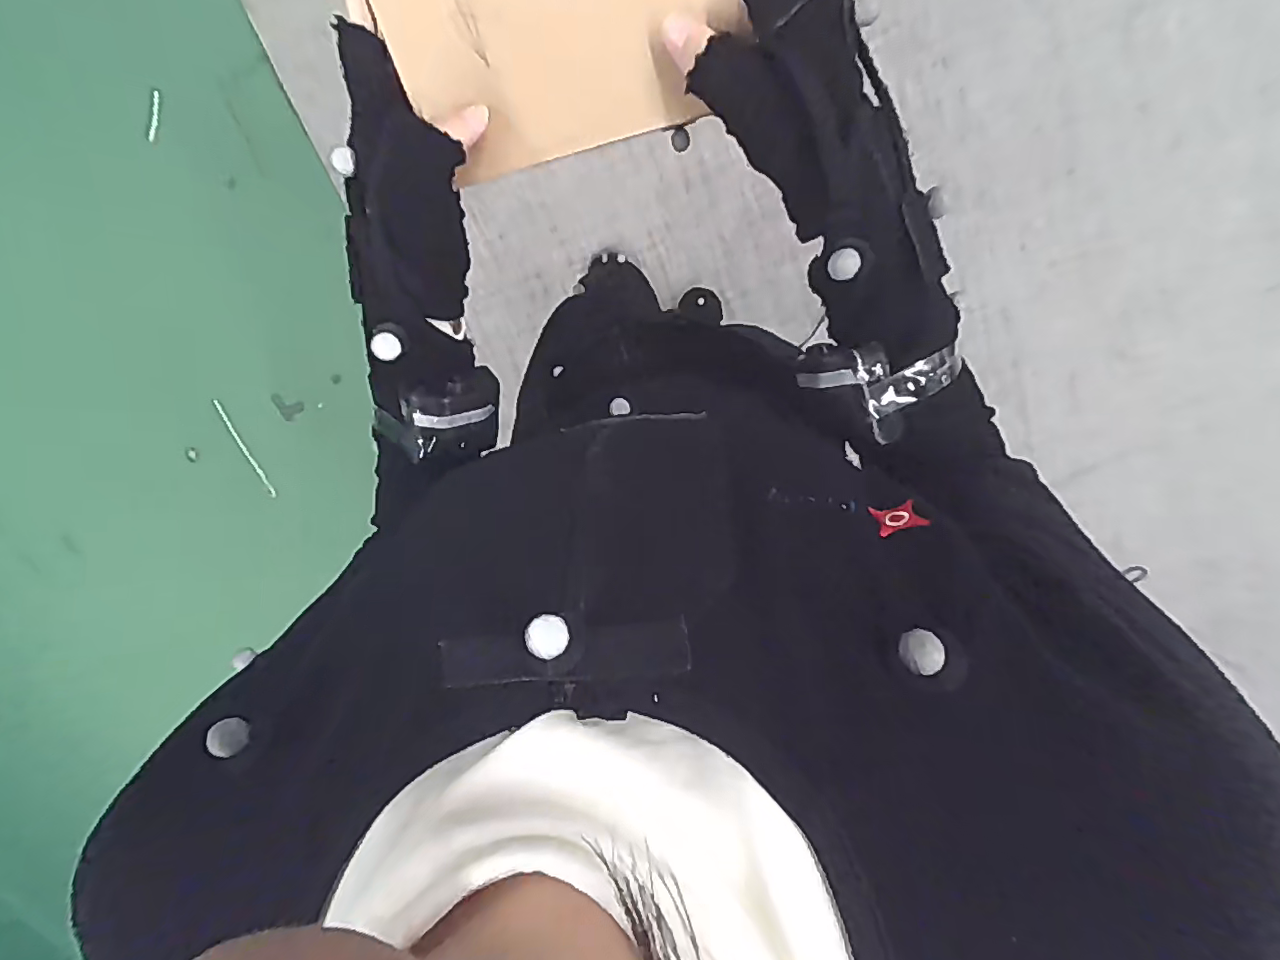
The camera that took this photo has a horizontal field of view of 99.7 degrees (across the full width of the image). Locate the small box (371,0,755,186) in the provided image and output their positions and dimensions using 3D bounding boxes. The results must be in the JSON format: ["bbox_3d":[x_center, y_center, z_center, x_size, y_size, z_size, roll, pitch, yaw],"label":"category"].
[{"bbox_3d":[-0.040,-0.289,0.310,0.179,0.176,0.168,-10,122,13],"label":"small box"}]
